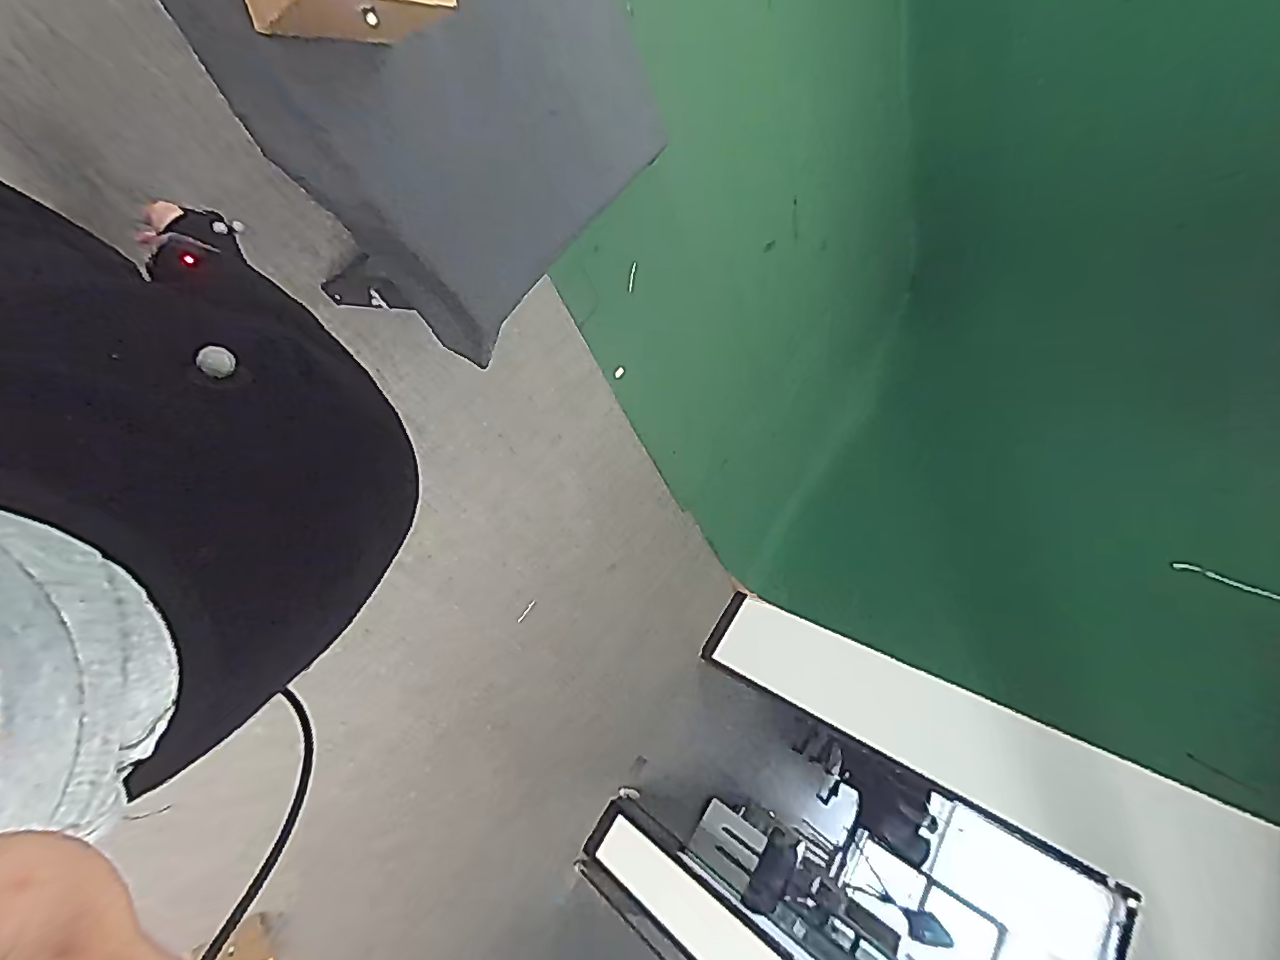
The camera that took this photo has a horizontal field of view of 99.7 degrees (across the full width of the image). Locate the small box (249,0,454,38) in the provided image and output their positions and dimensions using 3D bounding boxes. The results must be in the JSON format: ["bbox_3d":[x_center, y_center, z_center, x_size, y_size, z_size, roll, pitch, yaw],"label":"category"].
[{"bbox_3d":[-0.343,-0.614,0.597,0.179,0.176,0.168,-34,129,-38],"label":"small box"}]
